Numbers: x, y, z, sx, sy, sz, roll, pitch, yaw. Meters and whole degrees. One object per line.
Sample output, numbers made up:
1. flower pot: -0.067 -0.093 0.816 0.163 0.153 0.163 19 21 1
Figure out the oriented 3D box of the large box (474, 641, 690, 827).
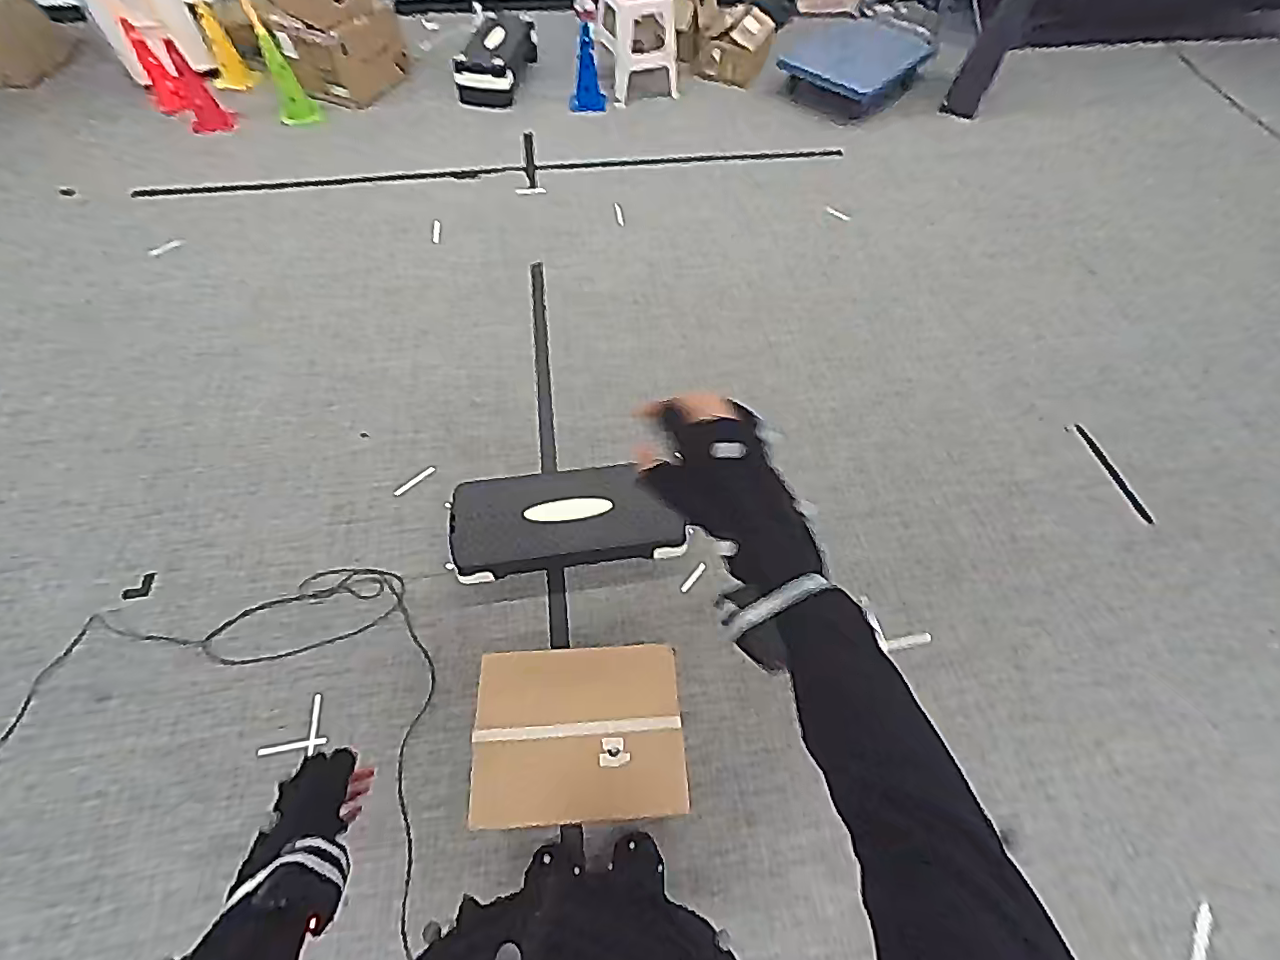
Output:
1. large box: -0.124 0.561 1.188 0.408 0.320 0.320 -2 59 -5
